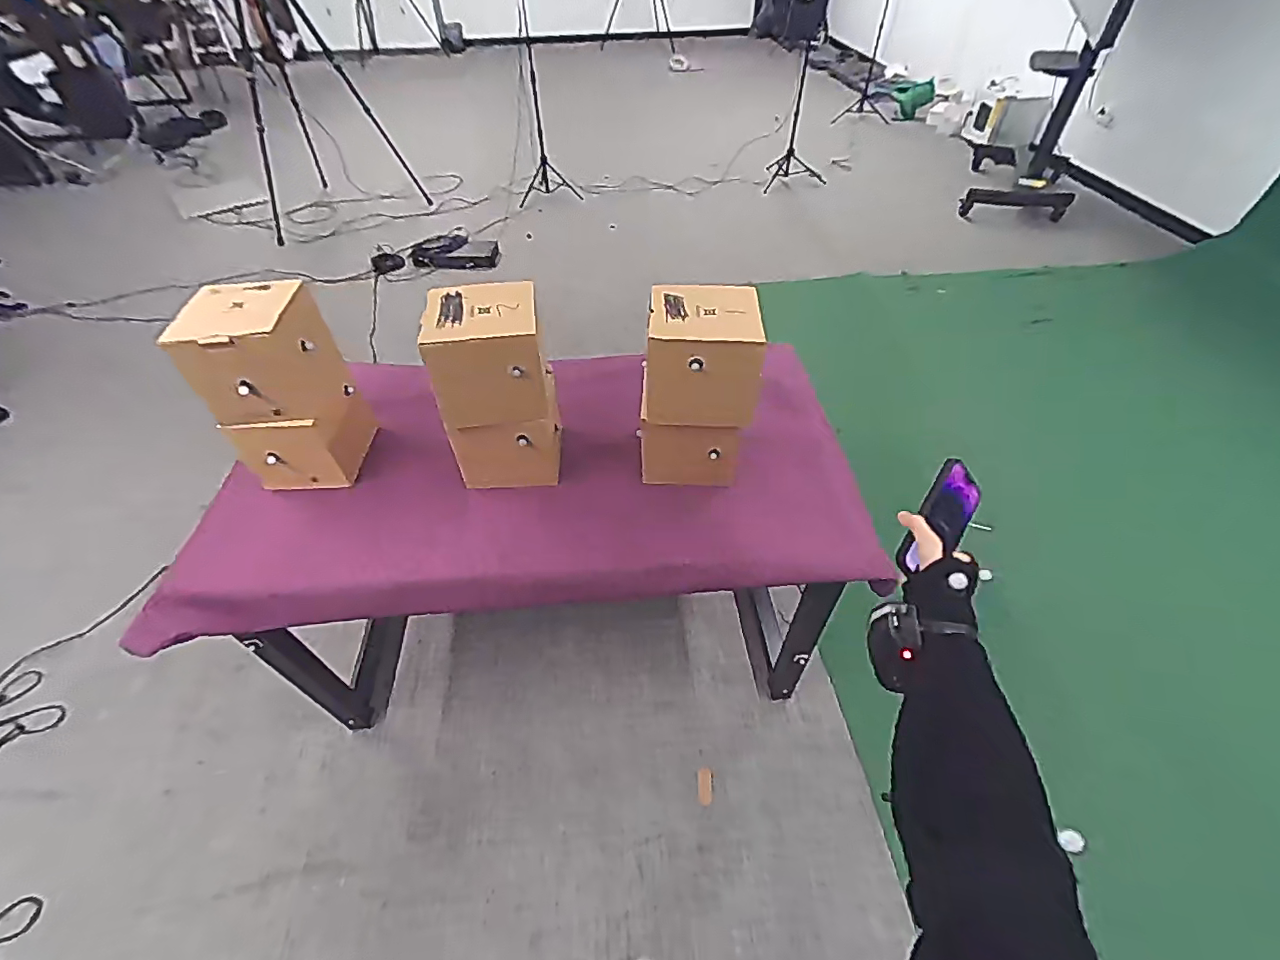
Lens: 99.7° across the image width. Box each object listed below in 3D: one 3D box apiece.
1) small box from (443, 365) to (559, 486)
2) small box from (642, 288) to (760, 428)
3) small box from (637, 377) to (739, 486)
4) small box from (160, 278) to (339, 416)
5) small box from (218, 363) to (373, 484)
[{"bbox_3d":[-0.253,-0.103,1.034,0.179,0.176,0.168,-2,47,-1],"label":"small box"},{"bbox_3d":[0.095,-0.202,0.902,0.179,0.176,0.168,3,47,2],"label":"small box"},{"bbox_3d":[0.088,-0.102,1.033,0.179,0.176,0.168,2,47,4],"label":"small box"},{"bbox_3d":[-0.646,-0.222,0.926,0.168,0.176,0.179,-5,48,-5],"label":"small box"},{"bbox_3d":[-0.644,-0.104,1.041,0.168,0.176,0.179,-1,47,-1],"label":"small box"}]
